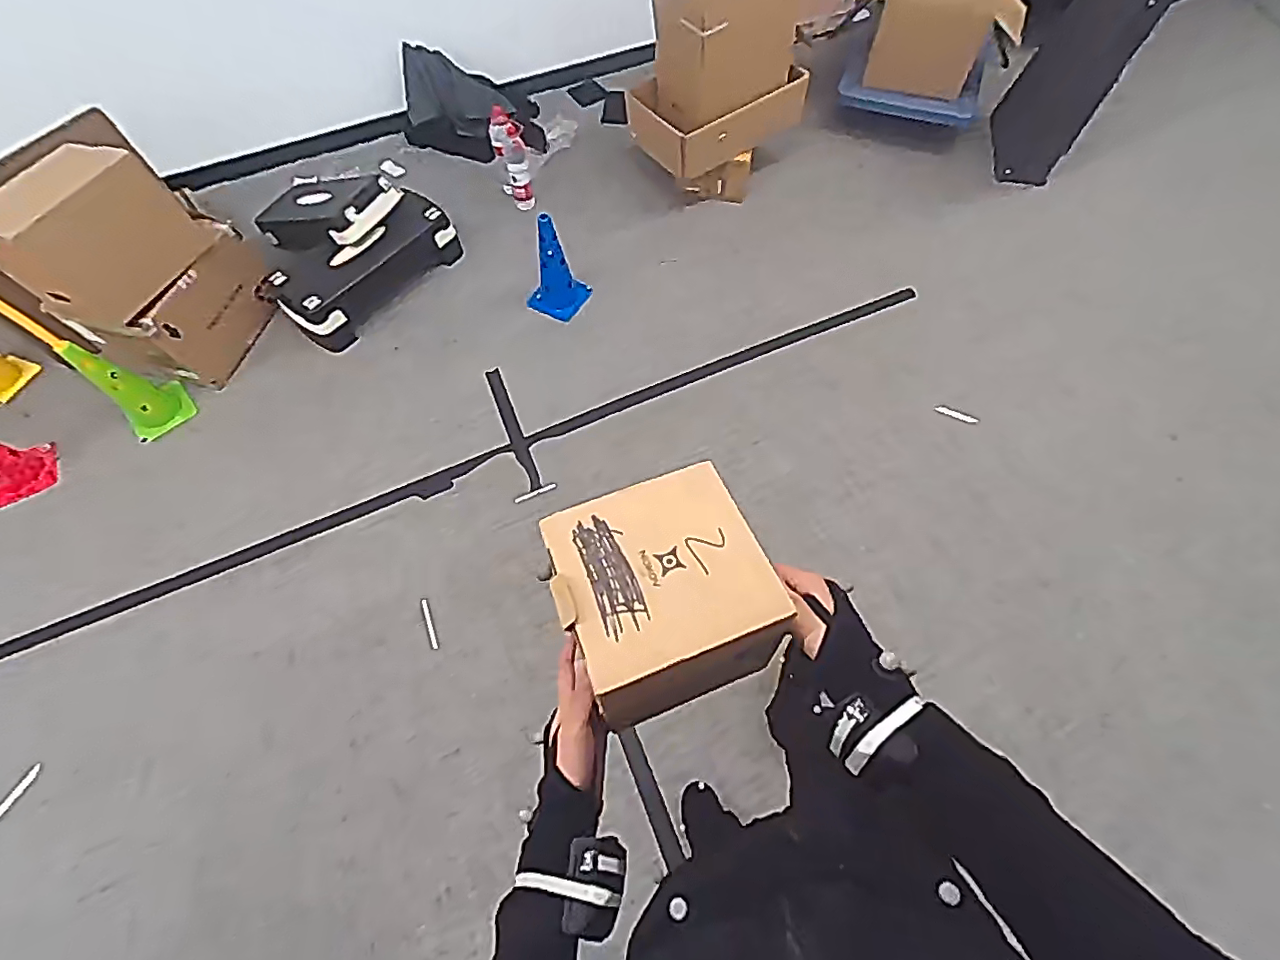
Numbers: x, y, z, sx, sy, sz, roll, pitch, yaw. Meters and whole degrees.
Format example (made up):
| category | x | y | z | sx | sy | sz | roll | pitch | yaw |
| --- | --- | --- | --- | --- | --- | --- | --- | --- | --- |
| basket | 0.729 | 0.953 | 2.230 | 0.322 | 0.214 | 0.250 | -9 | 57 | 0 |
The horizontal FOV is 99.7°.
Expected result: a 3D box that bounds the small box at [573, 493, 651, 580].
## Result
| category | x | y | z | sx | sy | sz | roll | pitch | yaw |
| --- | --- | --- | --- | --- | --- | --- | --- | --- | --- |
| small box | -0.075 | 0.173 | 1.567 | 0.168 | 0.176 | 0.179 | -26 | 65 | -11 |
